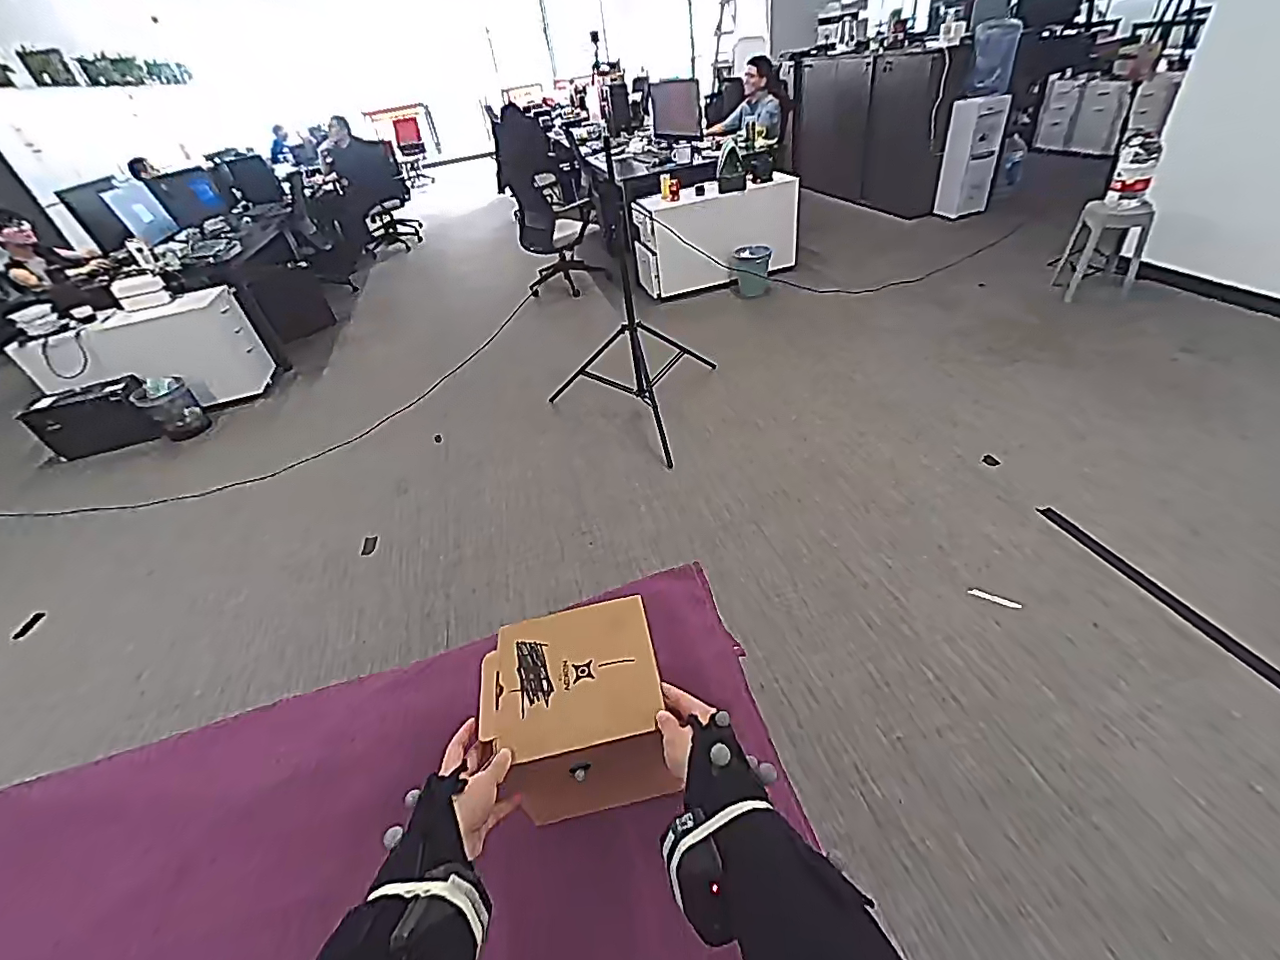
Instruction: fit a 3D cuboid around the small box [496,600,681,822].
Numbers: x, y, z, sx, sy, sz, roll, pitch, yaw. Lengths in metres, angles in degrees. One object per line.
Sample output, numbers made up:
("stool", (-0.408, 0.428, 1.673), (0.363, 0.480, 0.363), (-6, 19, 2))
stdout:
("small box", (-0.058, 0.273, 0.637), (0.179, 0.176, 0.168), (-12, 41, -3))
